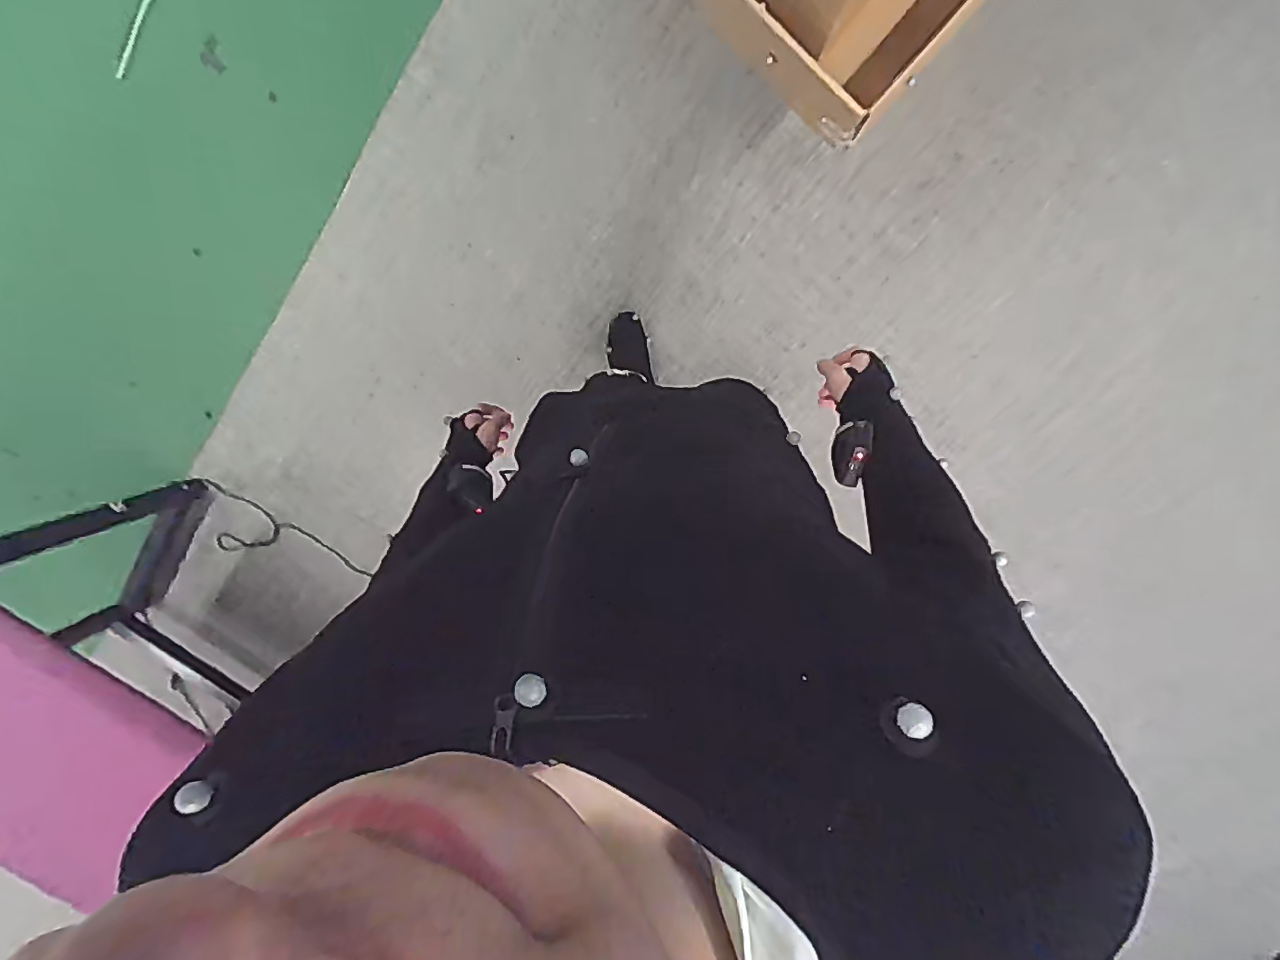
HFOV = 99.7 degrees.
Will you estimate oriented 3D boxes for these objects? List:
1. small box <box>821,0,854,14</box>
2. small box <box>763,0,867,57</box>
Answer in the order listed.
[{"bbox_3d":[0.296,-0.794,0.720,0.168,0.176,0.179,44,104,-8],"label":"small box"},{"bbox_3d":[0.307,-0.849,0.873,0.168,0.176,0.179,42,104,-7],"label":"small box"}]
